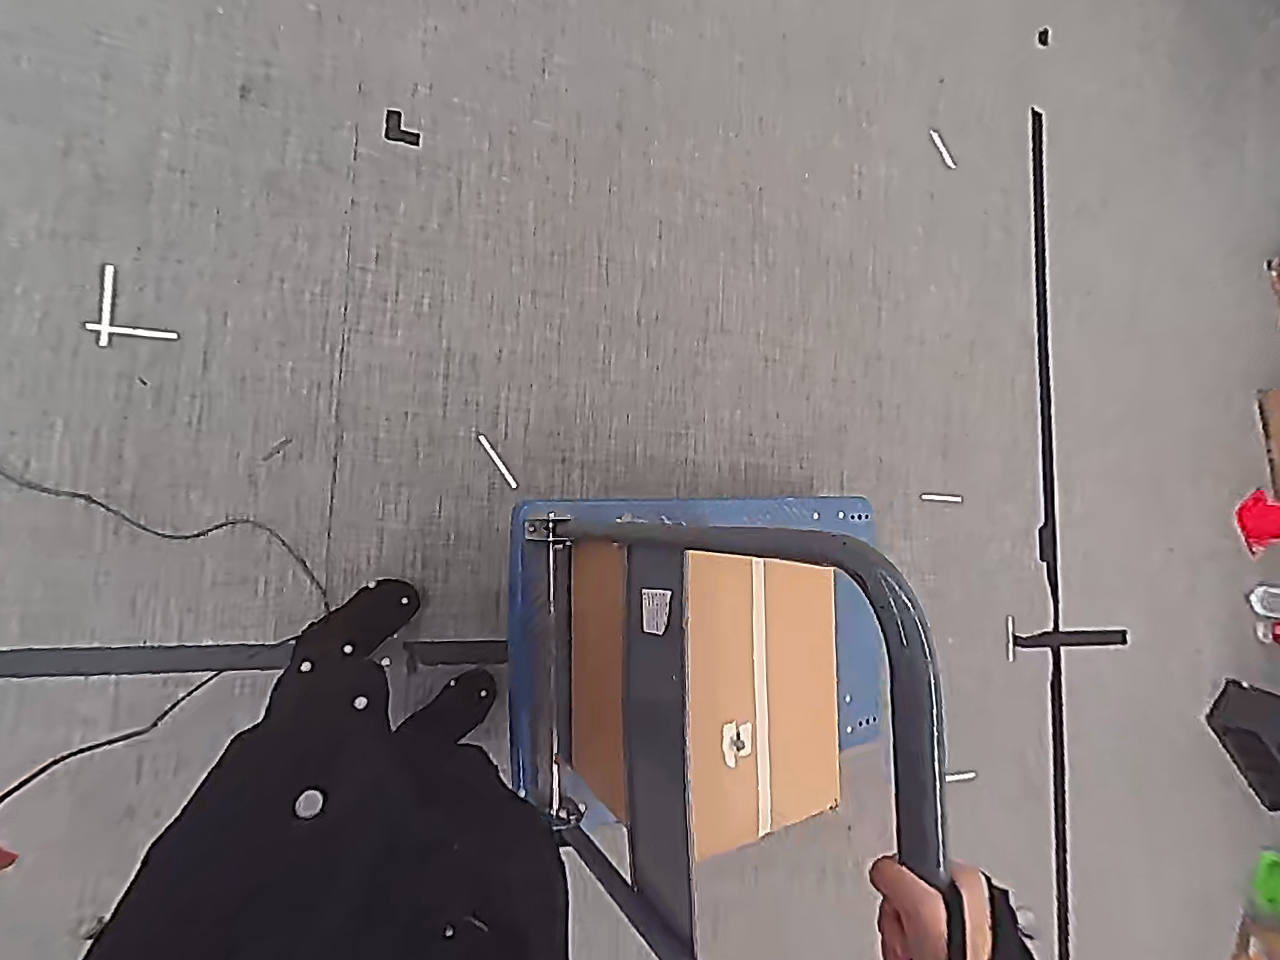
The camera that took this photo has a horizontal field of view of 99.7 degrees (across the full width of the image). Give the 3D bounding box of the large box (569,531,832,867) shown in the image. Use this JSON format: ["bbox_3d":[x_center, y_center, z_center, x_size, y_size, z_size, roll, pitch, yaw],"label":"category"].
[{"bbox_3d":[0.084,0.295,0.884,0.320,0.320,0.408,1,87,-29],"label":"large box"}]
